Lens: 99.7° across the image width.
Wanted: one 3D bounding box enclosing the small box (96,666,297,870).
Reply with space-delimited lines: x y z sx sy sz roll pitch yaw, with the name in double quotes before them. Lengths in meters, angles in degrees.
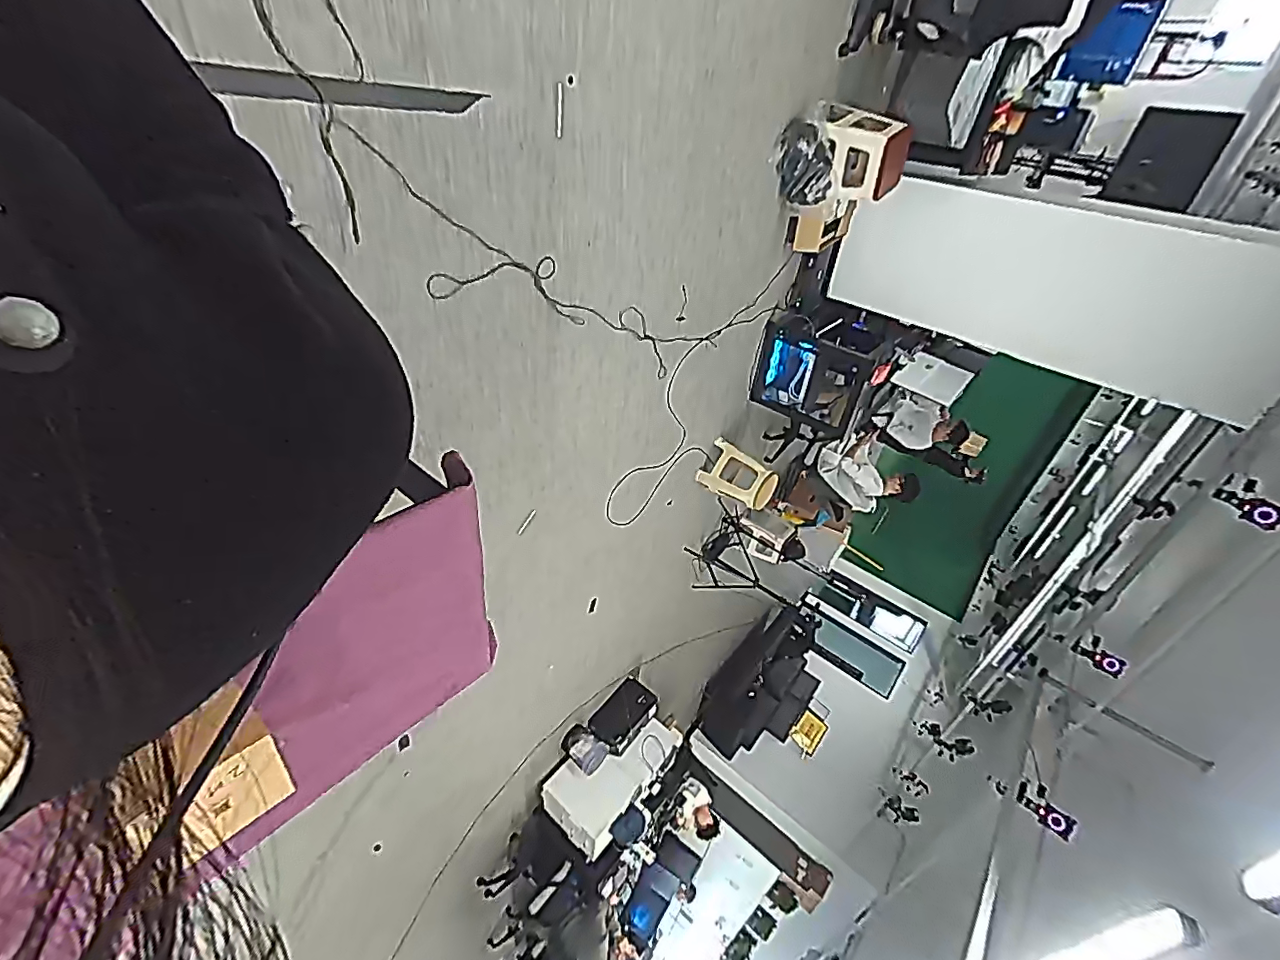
"small box" -0.652 0.418 0.807 0.168 0.176 0.179 -31 142 -44
